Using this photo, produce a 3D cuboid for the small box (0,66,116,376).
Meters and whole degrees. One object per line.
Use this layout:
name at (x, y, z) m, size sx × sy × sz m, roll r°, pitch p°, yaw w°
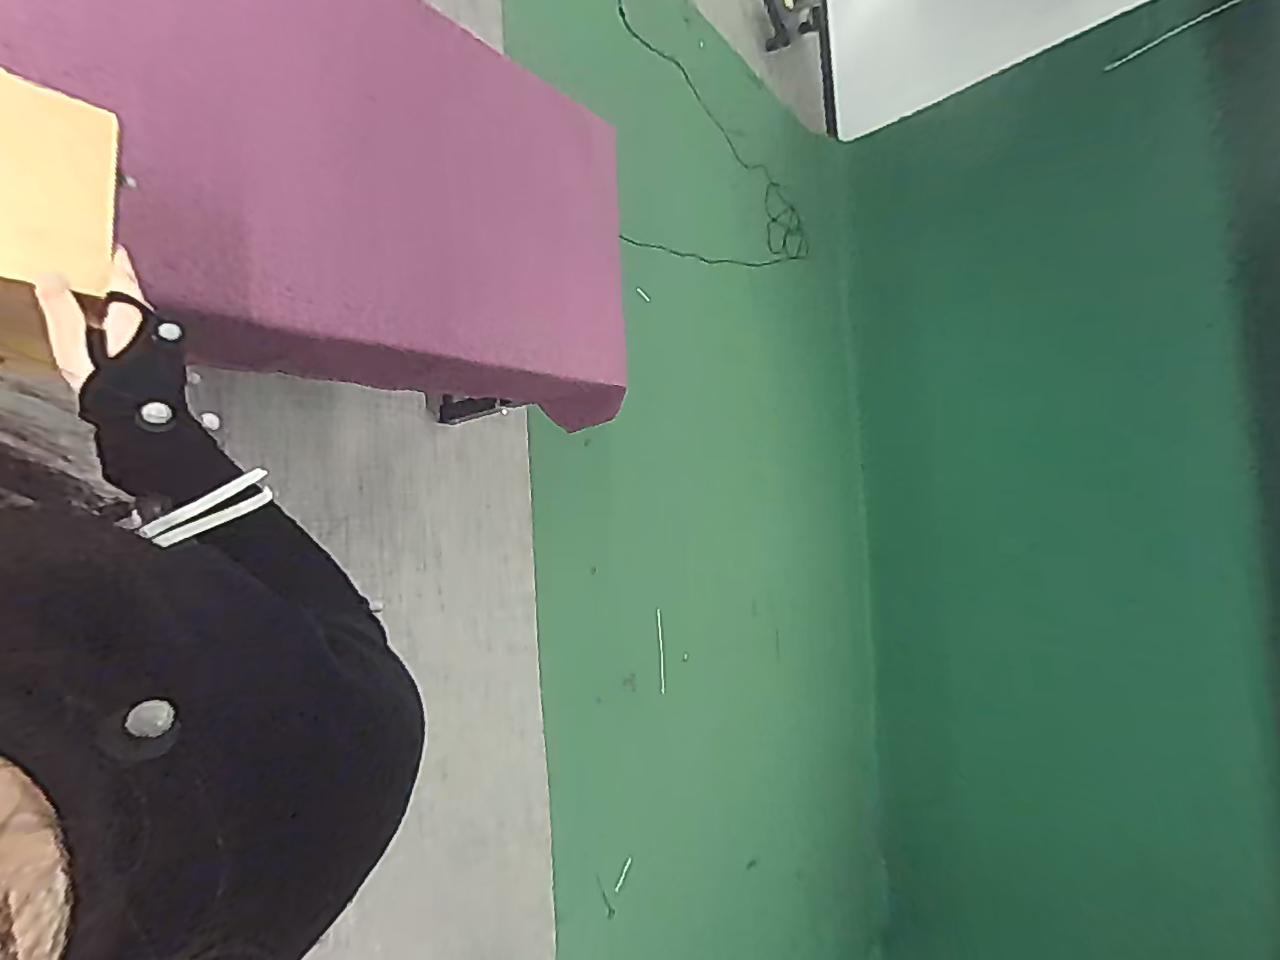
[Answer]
small box at (-0.525, -0.199, 0.417) m, size 0.168 × 0.176 × 0.179 m, roll 3°, pitch 70°, yaw -47°
